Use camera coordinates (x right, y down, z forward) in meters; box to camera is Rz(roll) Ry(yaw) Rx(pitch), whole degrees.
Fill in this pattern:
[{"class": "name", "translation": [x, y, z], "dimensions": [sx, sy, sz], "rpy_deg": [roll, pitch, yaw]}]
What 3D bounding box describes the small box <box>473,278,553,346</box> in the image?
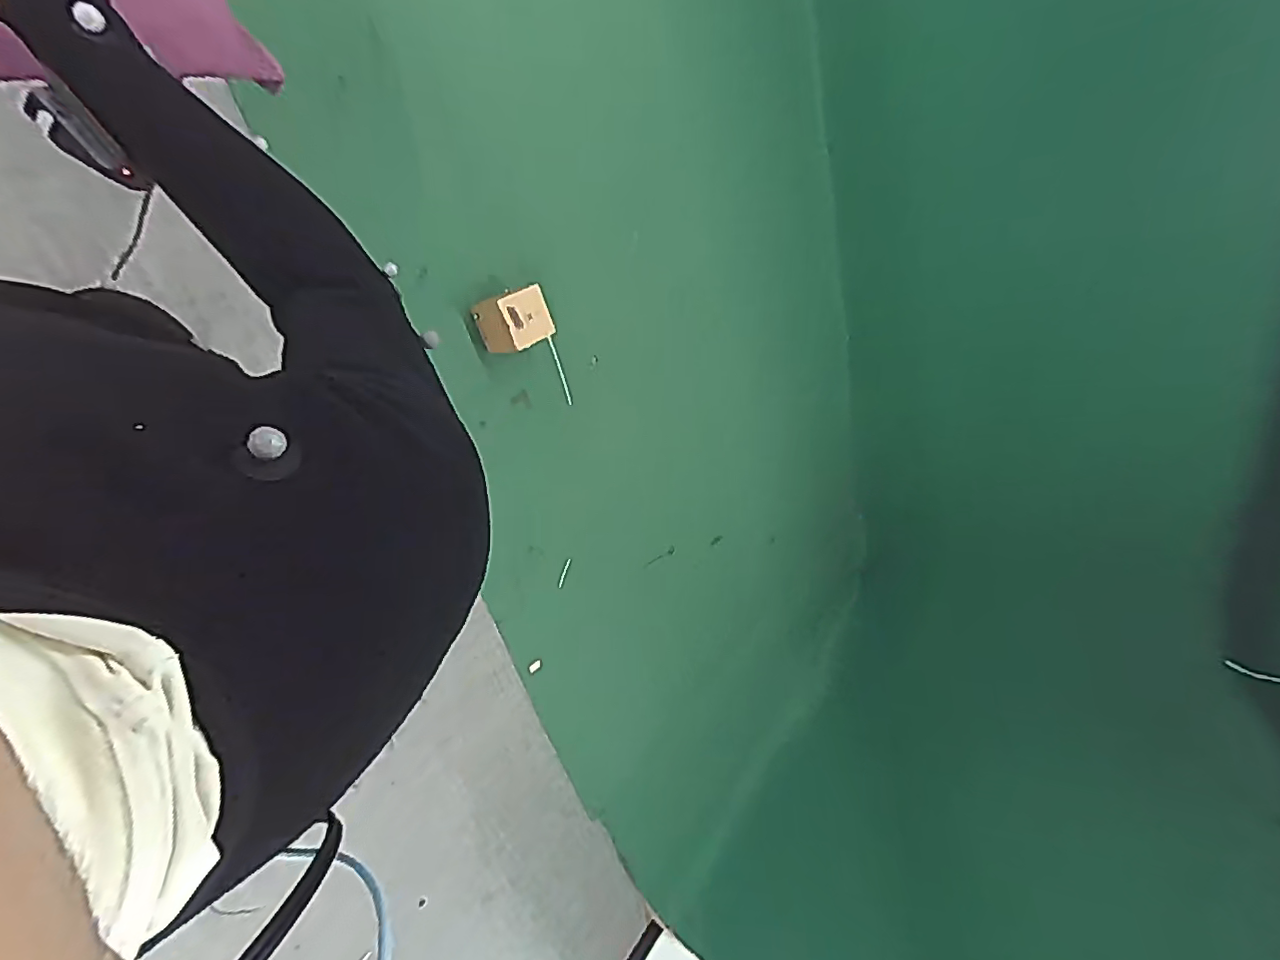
[{"class": "small box", "translation": [-0.425, -0.550, 1.784], "dimensions": [0.179, 0.176, 0.168], "rpy_deg": [-40, 124, -36]}]
